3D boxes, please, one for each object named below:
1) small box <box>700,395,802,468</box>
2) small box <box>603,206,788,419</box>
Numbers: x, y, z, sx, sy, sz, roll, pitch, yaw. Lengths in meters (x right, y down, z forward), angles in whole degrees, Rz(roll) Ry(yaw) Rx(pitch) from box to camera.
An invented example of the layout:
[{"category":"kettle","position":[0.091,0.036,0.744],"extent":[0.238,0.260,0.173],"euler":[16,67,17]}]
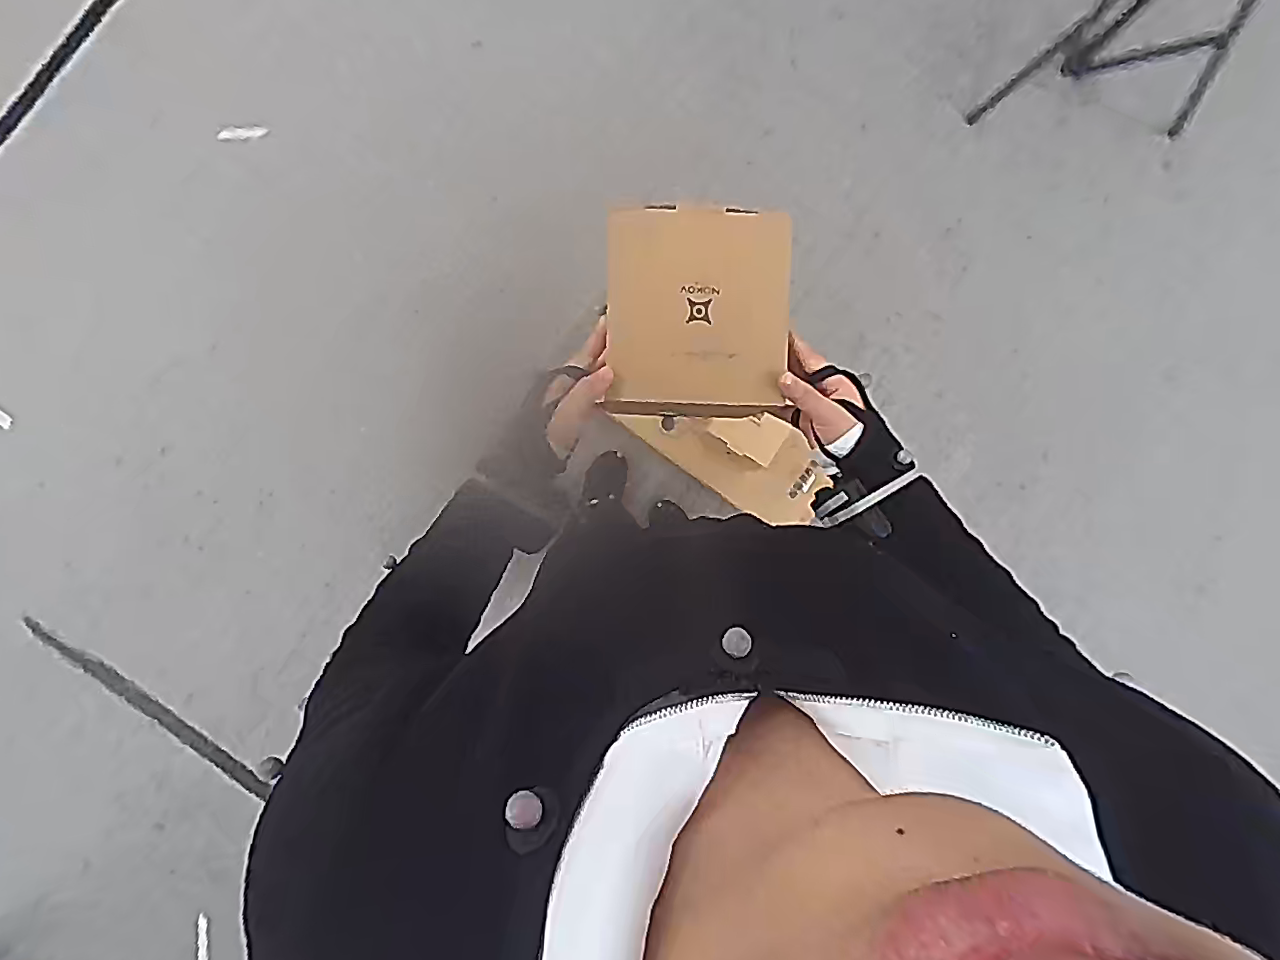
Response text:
[{"category":"small box","position":[0.260,-0.140,1.322],"extent":[0.168,0.176,0.179],"euler":[34,89,-1]},{"category":"small box","position":[0.045,-0.158,0.564],"extent":[0.168,0.176,0.179],"euler":[0,94,-4]}]
